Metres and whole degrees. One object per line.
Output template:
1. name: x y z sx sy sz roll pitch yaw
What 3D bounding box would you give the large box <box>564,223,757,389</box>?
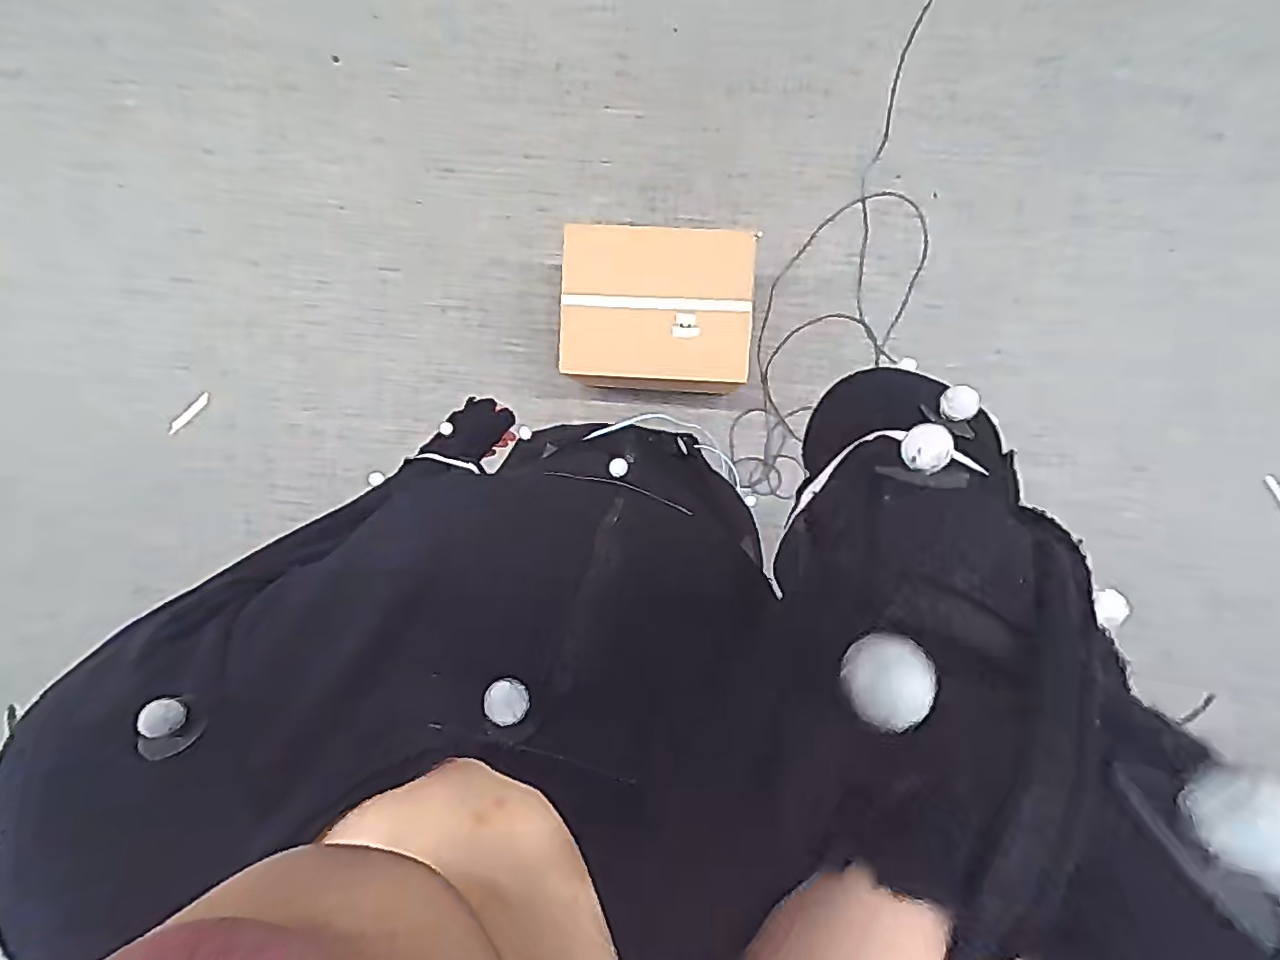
1. large box: 0.045 -0.392 1.293 0.408 0.320 0.320 4 96 2
